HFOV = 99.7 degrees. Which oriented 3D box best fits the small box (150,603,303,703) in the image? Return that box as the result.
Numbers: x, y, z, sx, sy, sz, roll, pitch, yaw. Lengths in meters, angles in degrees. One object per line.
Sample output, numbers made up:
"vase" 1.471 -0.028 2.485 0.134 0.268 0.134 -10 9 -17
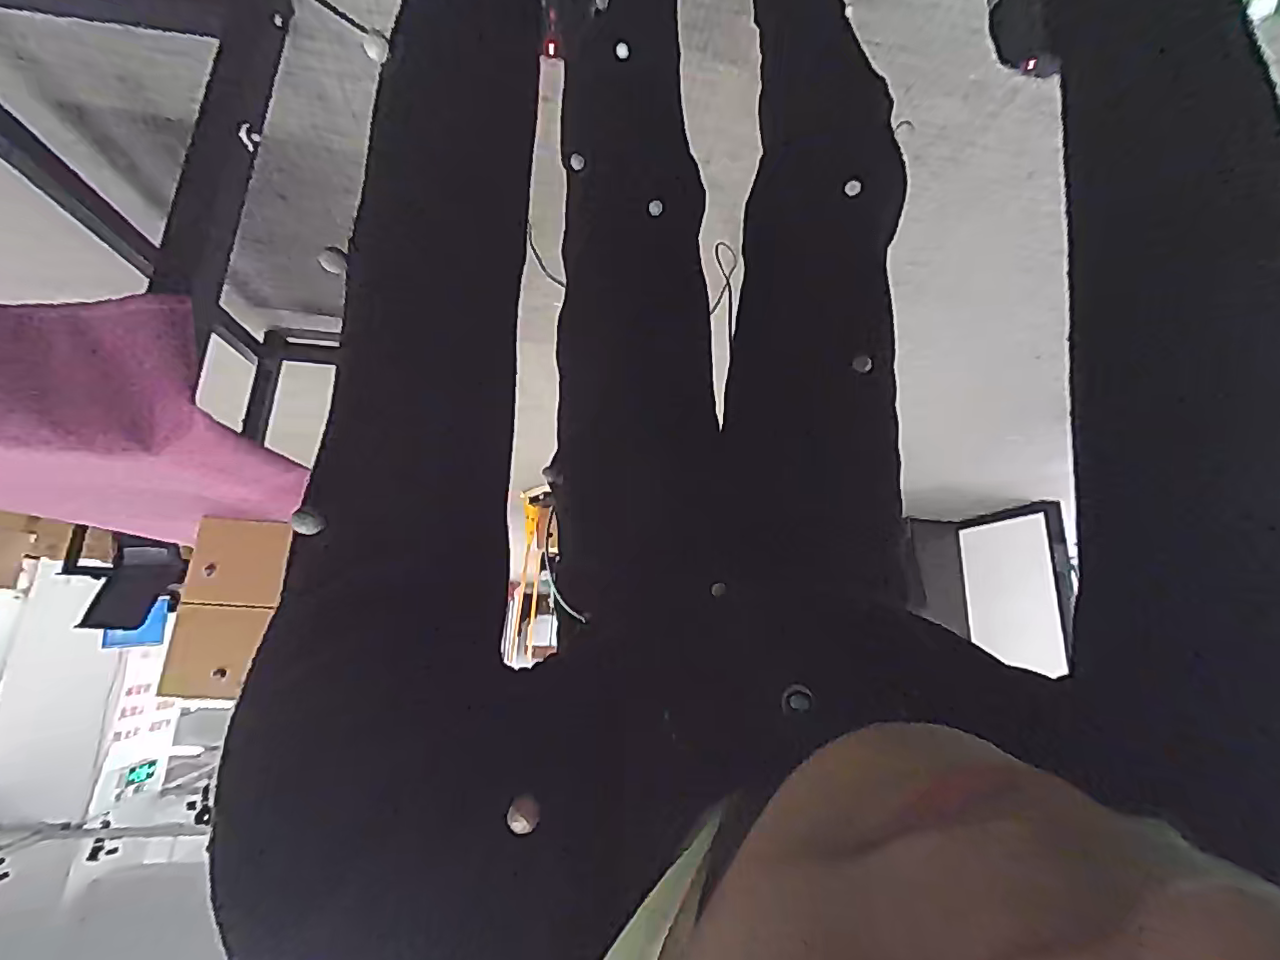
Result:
"small box" -0.794 0.334 1.063 0.179 0.176 0.168 6 165 -8
